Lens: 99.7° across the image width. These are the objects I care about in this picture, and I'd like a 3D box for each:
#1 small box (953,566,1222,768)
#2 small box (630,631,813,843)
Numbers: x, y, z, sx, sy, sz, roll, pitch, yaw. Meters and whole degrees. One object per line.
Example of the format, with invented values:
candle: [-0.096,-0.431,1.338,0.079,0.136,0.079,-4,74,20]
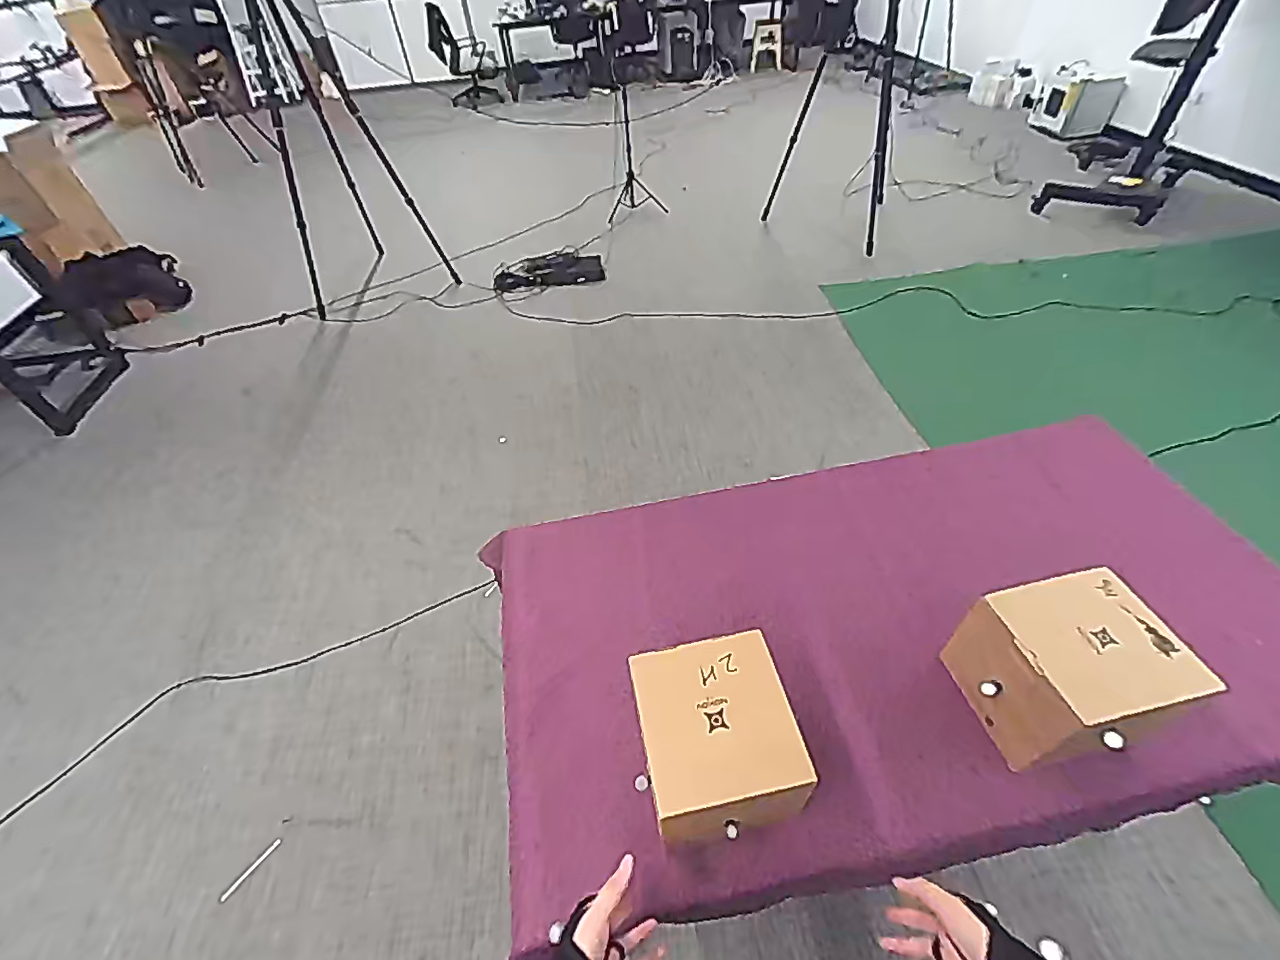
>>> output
small box: [0.528,0.237,0.678,0.179,0.176,0.168,-12,46,-4]
small box: [0.088,0.313,0.651,0.168,0.176,0.179,-10,45,-5]
